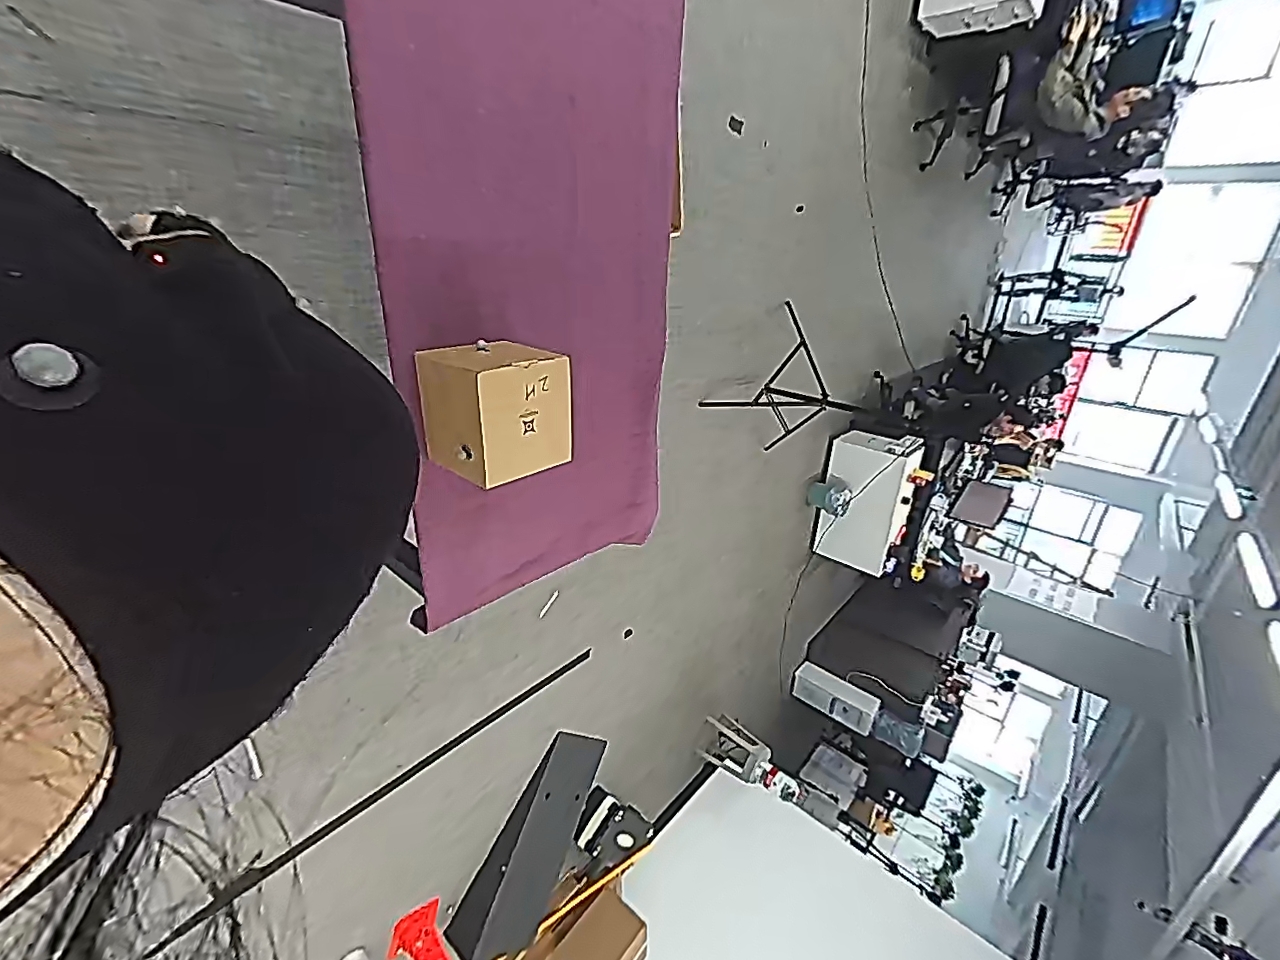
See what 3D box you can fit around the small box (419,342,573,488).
[{"bbox_3d":[-0.224,-0.111,0.851,0.168,0.176,0.179,-23,124,-44],"label":"small box"}]
